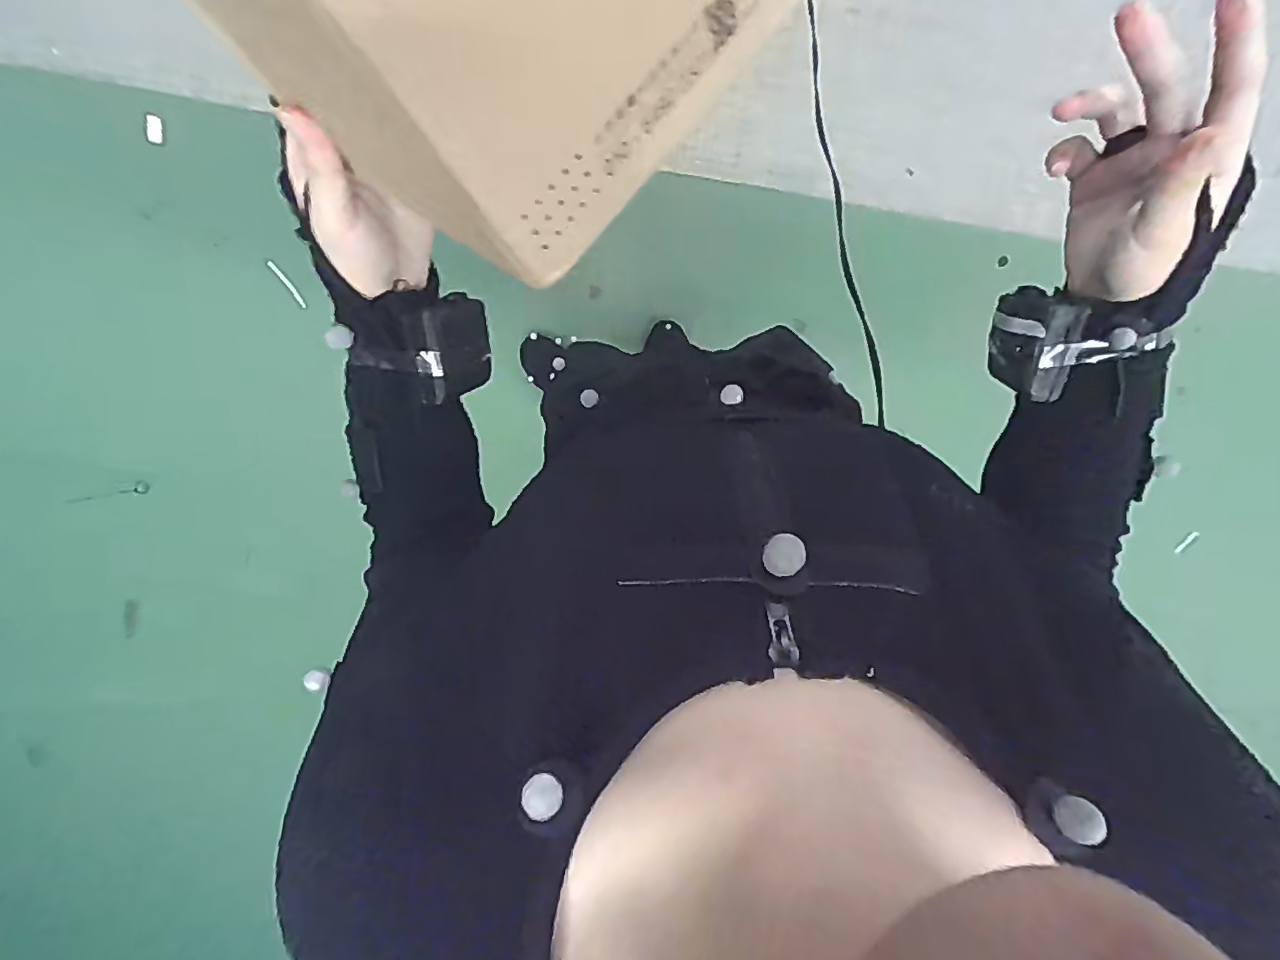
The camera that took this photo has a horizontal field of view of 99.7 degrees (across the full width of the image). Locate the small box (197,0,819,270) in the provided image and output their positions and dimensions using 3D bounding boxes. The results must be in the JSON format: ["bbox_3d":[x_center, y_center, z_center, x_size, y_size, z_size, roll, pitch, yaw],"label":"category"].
[{"bbox_3d":[-0.063,-0.201,0.173,0.179,0.176,0.168,37,87,29],"label":"small box"}]
